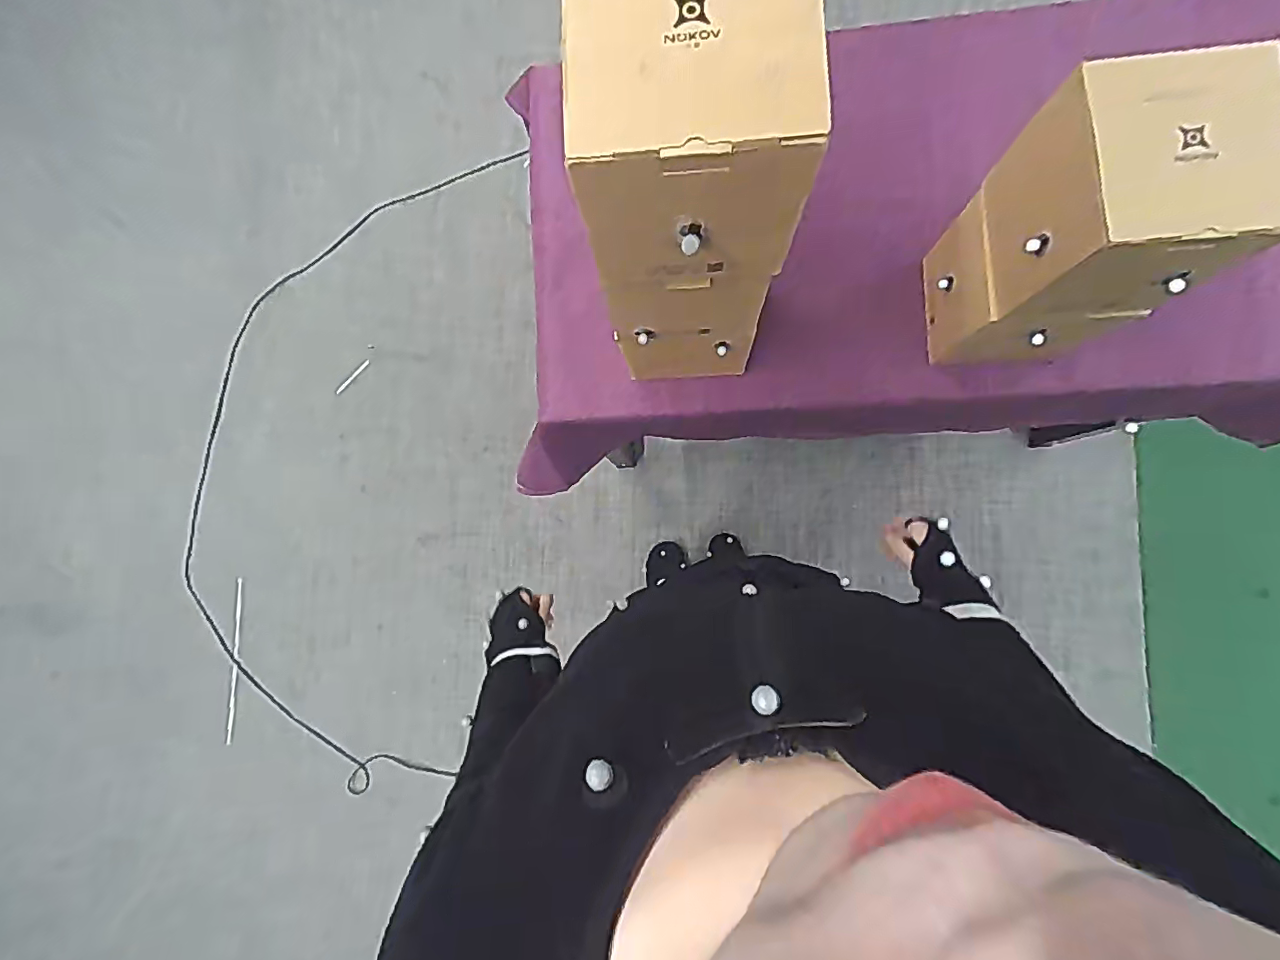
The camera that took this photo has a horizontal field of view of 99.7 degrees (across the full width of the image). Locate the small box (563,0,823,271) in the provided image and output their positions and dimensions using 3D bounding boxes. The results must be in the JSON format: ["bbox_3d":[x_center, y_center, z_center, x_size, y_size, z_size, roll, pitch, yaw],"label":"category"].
[{"bbox_3d":[0.038,-0.279,0.424,0.168,0.176,0.179,-2,85,4],"label":"small box"}]

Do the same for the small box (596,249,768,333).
[{"bbox_3d":[0.045,-0.269,0.588,0.168,0.176,0.179,-2,83,4],"label":"small box"}]

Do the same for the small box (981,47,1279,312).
[{"bbox_3d":[0.482,-0.283,0.551,0.168,0.176,0.179,-2,83,4],"label":"small box"}]

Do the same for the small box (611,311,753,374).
[{"bbox_3d":[0.057,-0.251,0.751,0.179,0.176,0.168,-2,84,4],"label":"small box"}]

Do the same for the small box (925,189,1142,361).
[{"bbox_3d":[0.495,-0.261,0.712,0.179,0.176,0.168,0,85,5],"label":"small box"}]
